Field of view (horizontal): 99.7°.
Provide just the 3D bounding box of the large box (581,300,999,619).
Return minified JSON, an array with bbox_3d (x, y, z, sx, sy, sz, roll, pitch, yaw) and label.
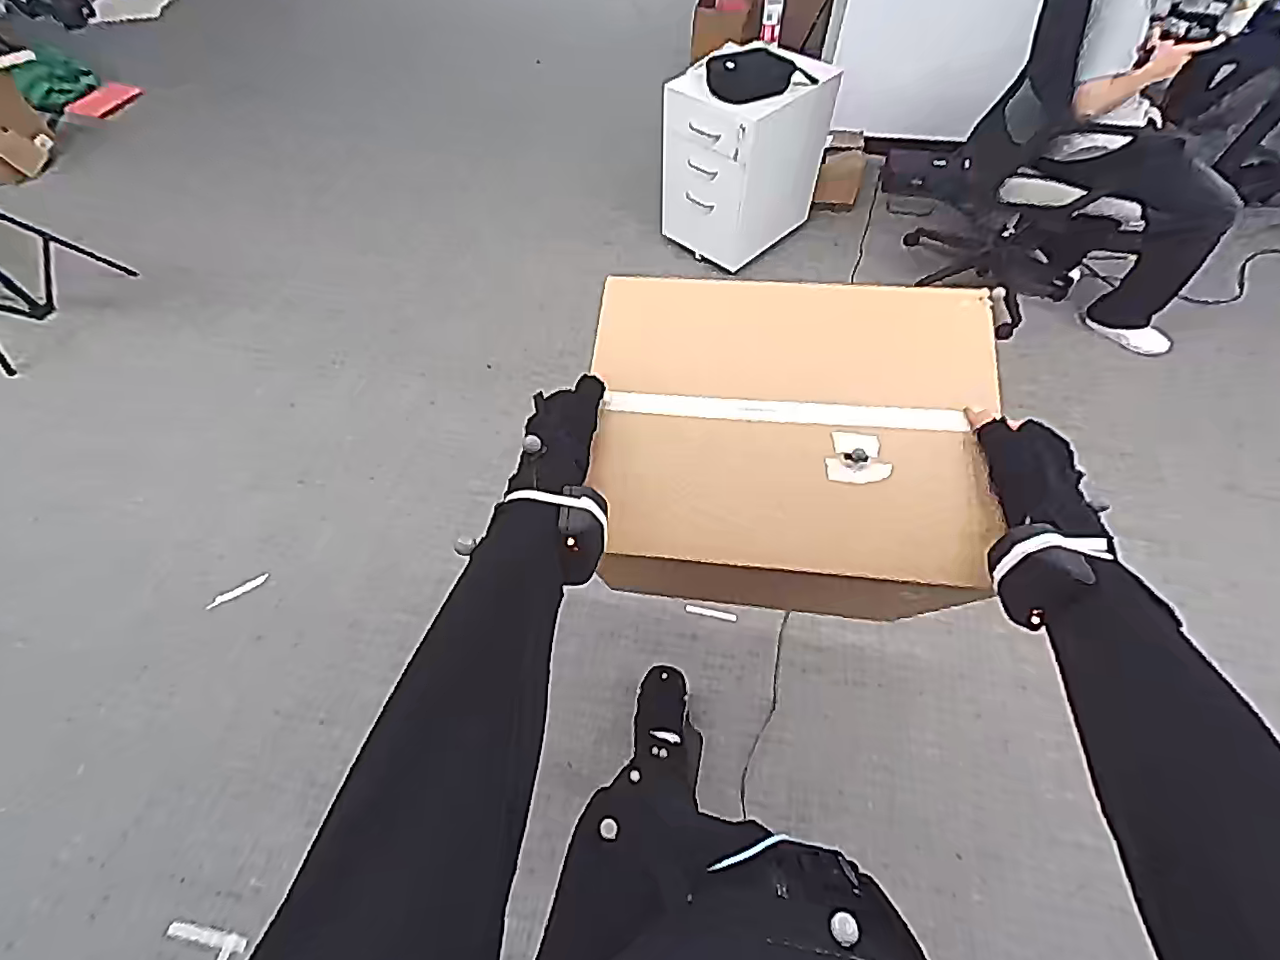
[{"bbox_3d":[0.159,-0.005,0.705,0.408,0.320,0.320,5,72,6],"label":"large box"}]
